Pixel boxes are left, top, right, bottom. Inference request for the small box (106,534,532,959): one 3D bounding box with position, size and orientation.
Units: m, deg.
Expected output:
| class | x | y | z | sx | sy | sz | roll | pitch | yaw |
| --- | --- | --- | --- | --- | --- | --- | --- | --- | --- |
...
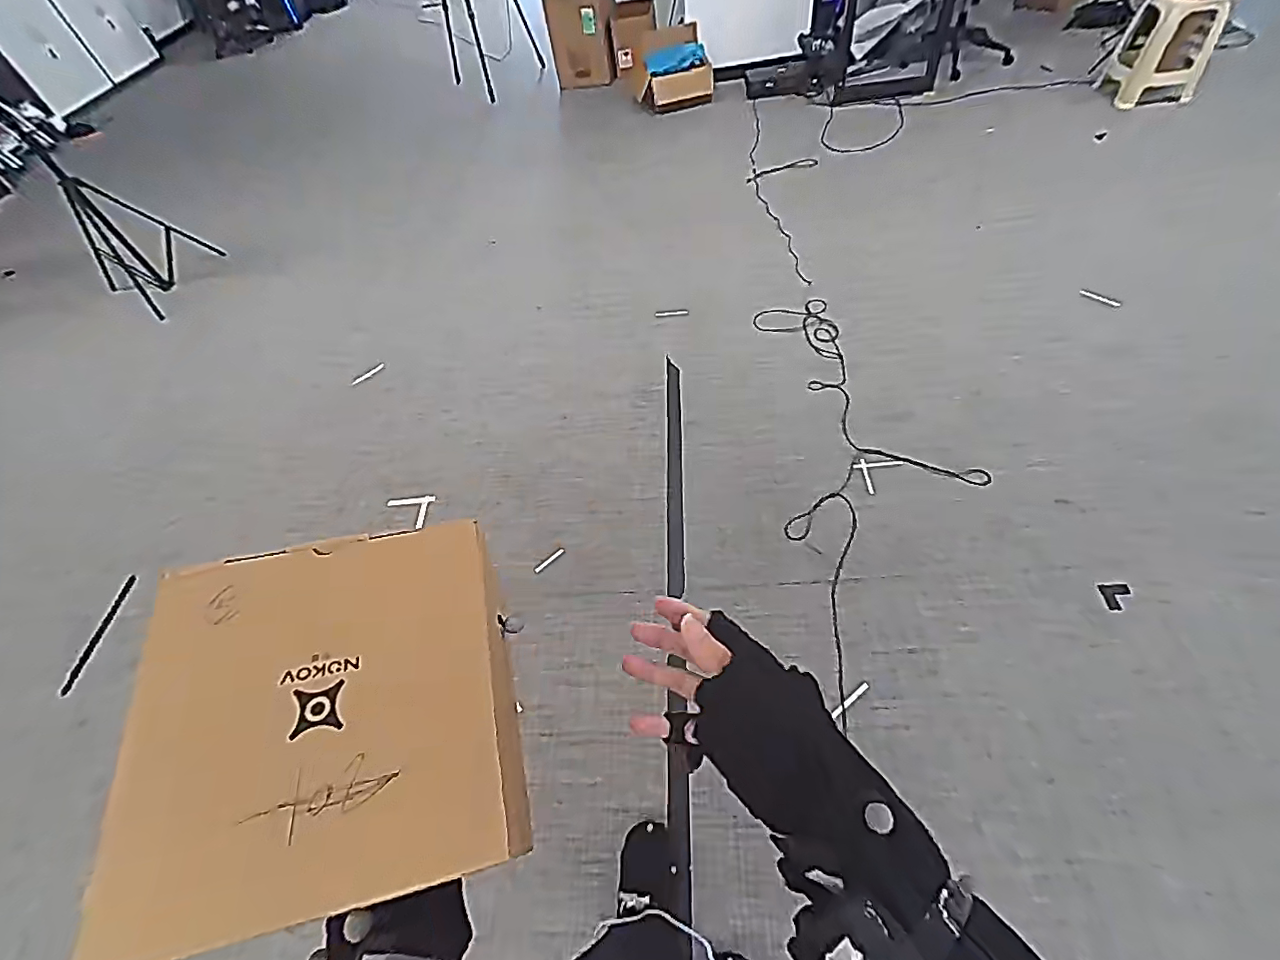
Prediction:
| class | x | y | z | sx | sy | sz | roll | pitch | yaw |
| --- | --- | --- | --- | --- | --- | --- | --- | --- | --- |
| small box | -0.164 | 0.159 | 0.344 | 0.168 | 0.176 | 0.179 | -9 | 58 | -12 |
